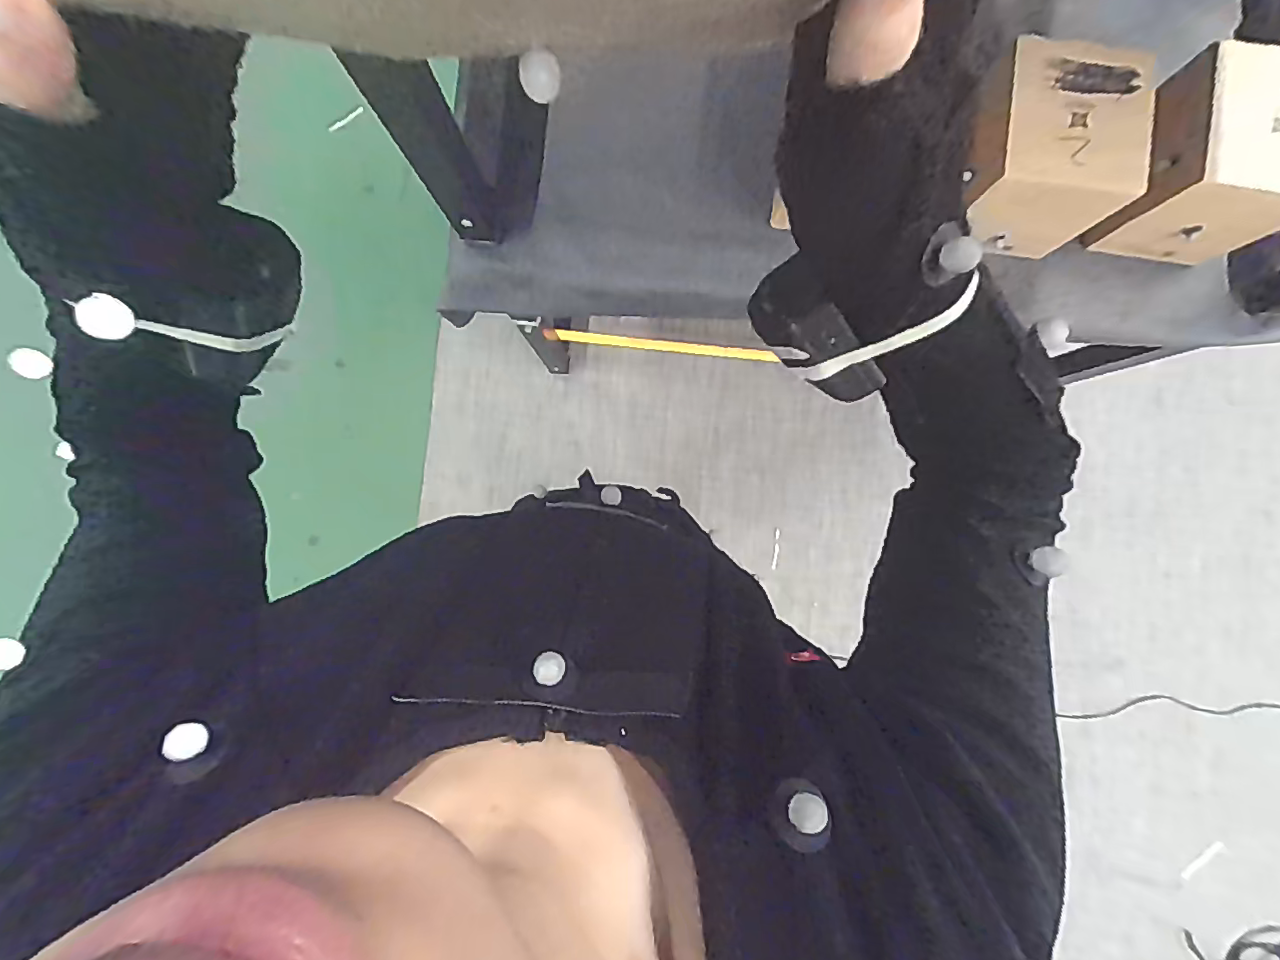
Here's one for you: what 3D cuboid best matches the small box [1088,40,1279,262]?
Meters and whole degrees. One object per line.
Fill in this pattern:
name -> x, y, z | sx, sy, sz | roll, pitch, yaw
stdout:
small box -> 0.732, -0.408, 0.701 | 0.168, 0.176, 0.179 | 9, 87, 0

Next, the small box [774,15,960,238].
small box -> 0.281, -0.443, 0.706 | 0.168, 0.176, 0.179 | 8, 87, 1

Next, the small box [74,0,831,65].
small box -> -0.035, -0.211, 0.124 | 0.168, 0.176, 0.179 | 2, 125, 4
